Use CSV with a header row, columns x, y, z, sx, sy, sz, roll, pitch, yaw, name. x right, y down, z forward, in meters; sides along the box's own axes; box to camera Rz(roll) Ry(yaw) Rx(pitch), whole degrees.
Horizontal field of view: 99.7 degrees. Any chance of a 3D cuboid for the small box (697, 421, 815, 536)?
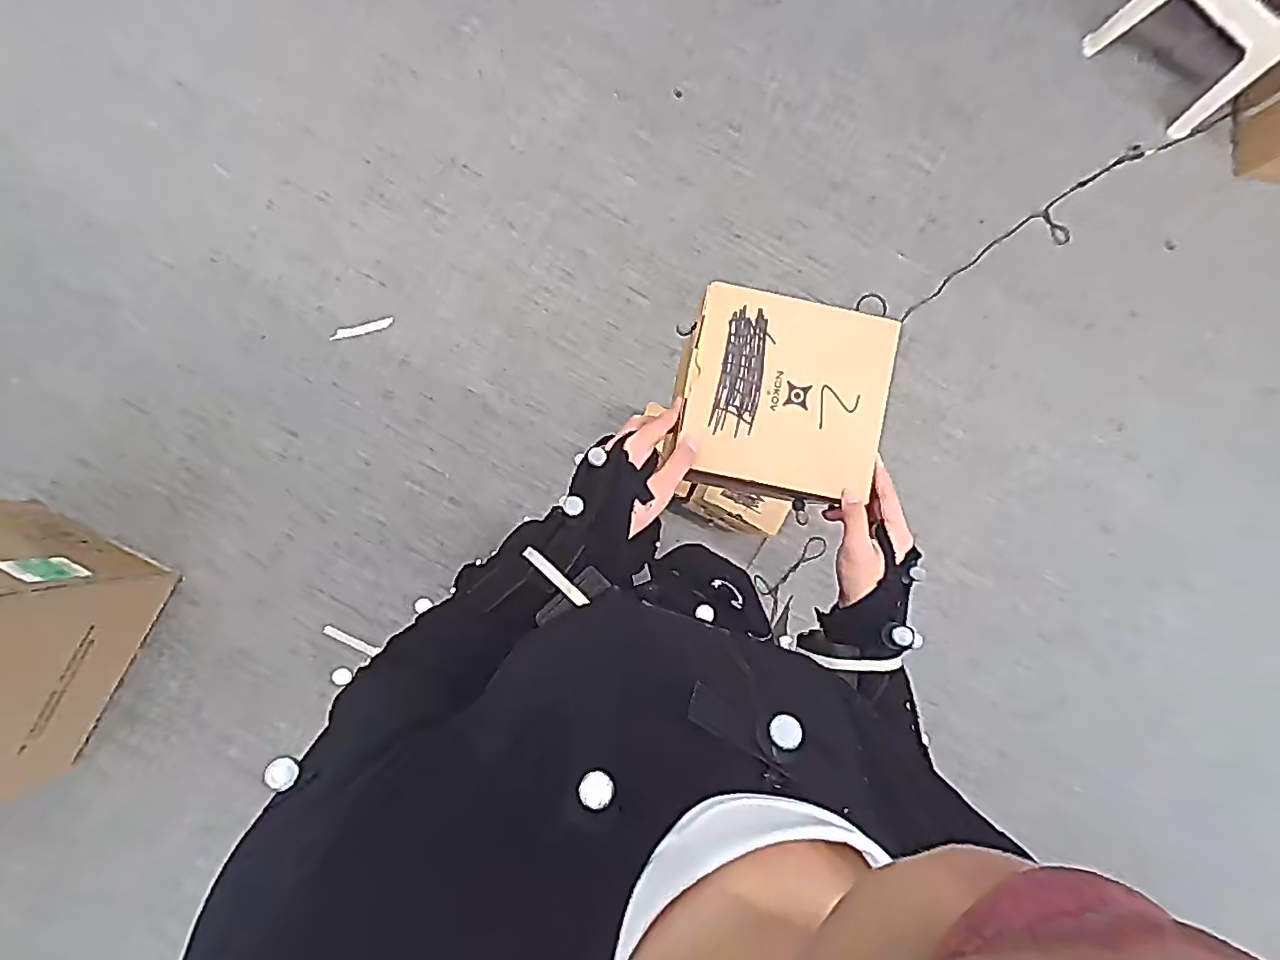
x,y,z,sx,sy,sz,roll,pitch,yaw,name
0.233,0.002,1.138,0.168,0.176,0.179,30,86,-1,small box
